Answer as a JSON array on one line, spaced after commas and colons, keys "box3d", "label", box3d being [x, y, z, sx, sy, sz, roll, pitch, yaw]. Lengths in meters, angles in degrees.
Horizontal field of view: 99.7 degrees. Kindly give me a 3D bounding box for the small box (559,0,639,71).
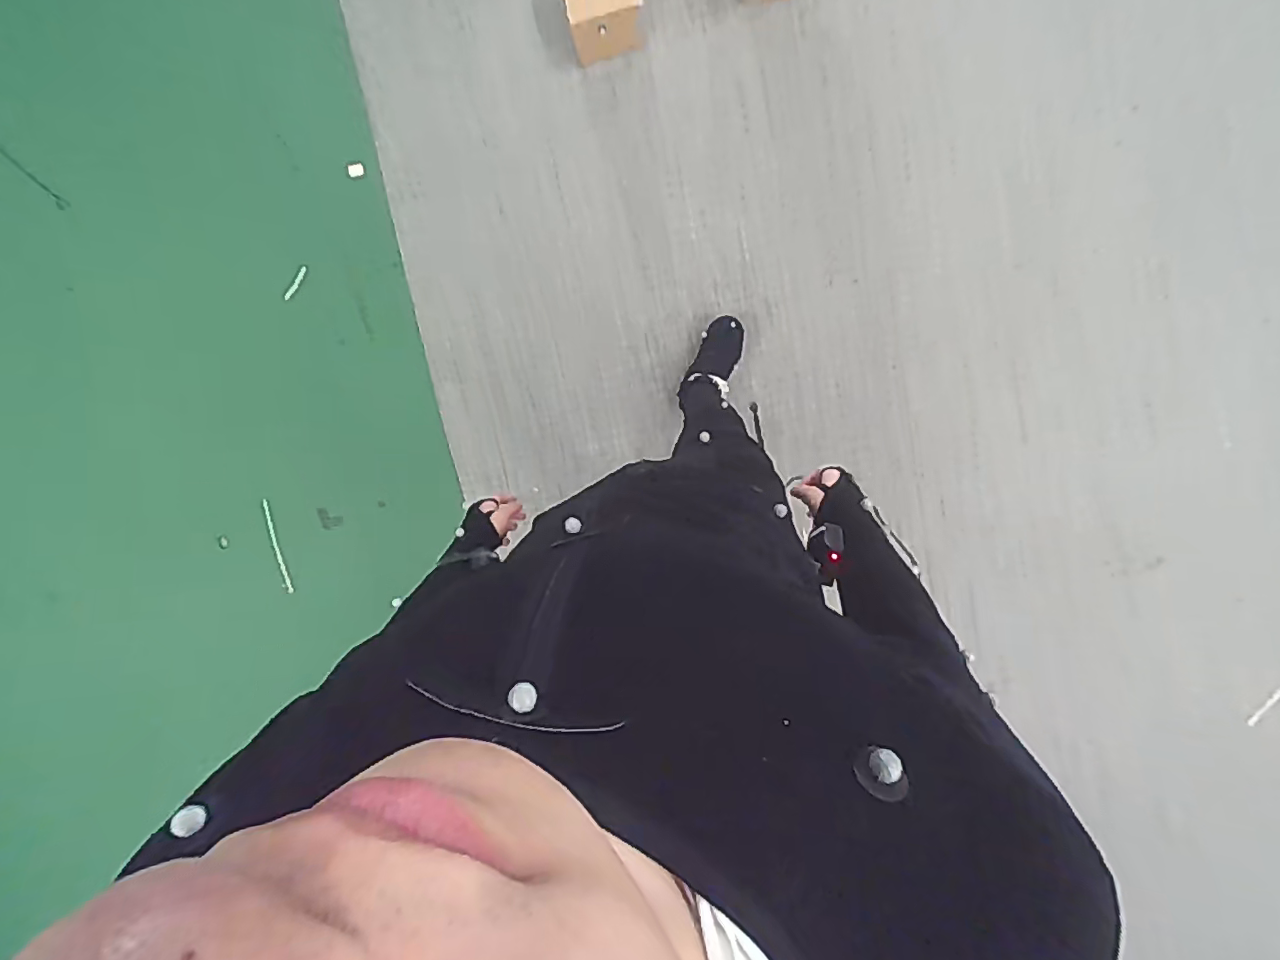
[{"box3d": [-0.105, -1.182, 1.365, 0.179, 0.176, 0.168, -12, 97, 5], "label": "small box"}]
